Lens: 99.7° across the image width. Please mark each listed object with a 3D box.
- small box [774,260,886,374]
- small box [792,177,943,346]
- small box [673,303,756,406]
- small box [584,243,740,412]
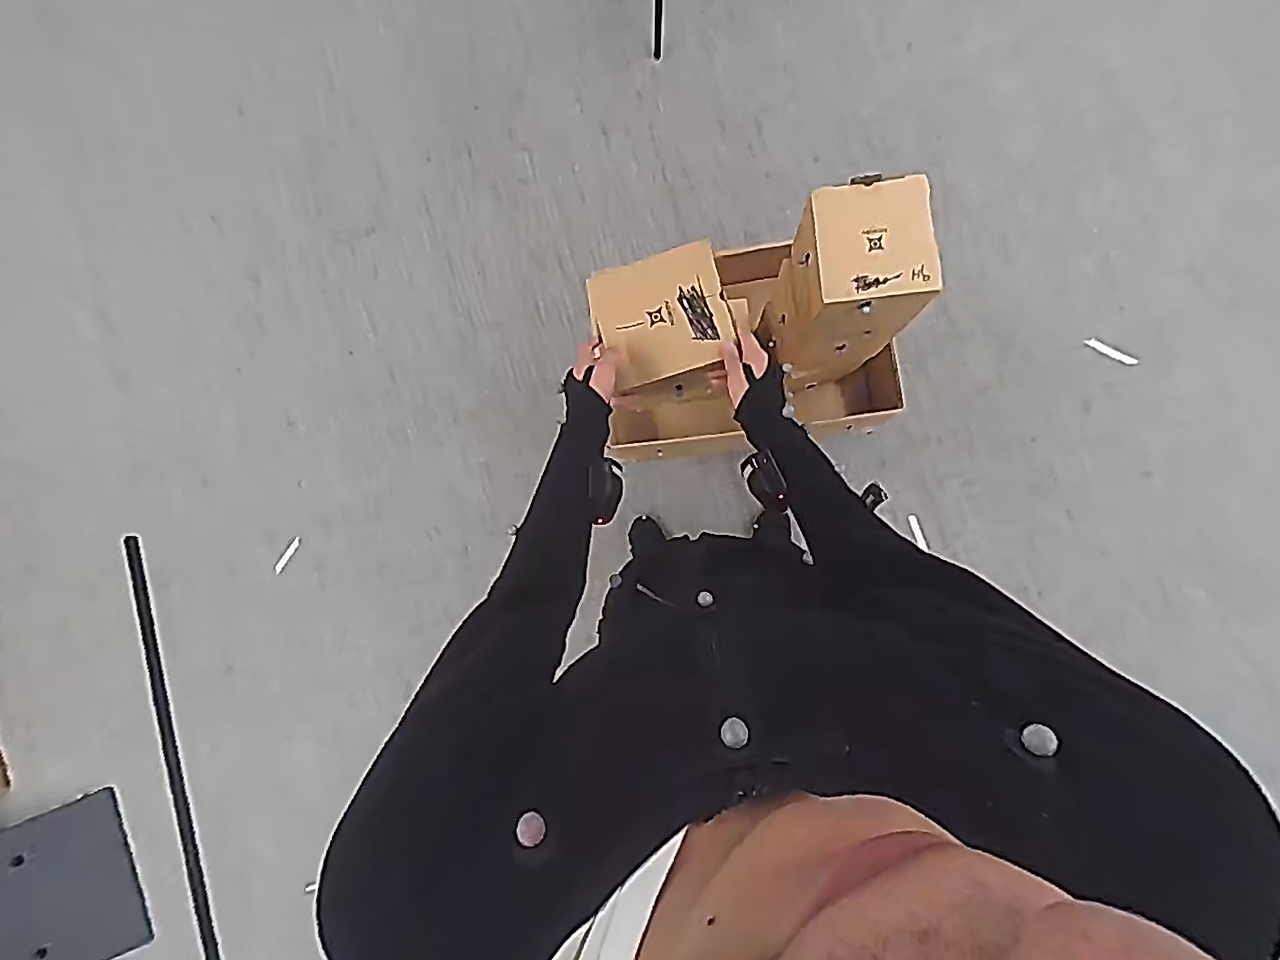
[{"bbox_3d":[0.352,-0.307,0.999,0.179,0.176,0.168,-11,84,5],"label":"small box"},{"bbox_3d":[0.337,-0.326,0.836,0.168,0.176,0.179,-5,84,6],"label":"small box"},{"bbox_3d":[0.146,-0.267,1.180,0.179,0.176,0.168,-6,84,4],"label":"small box"},{"bbox_3d":[0.039,-0.208,0.787,0.179,0.176,0.168,-16,86,10],"label":"small box"}]
